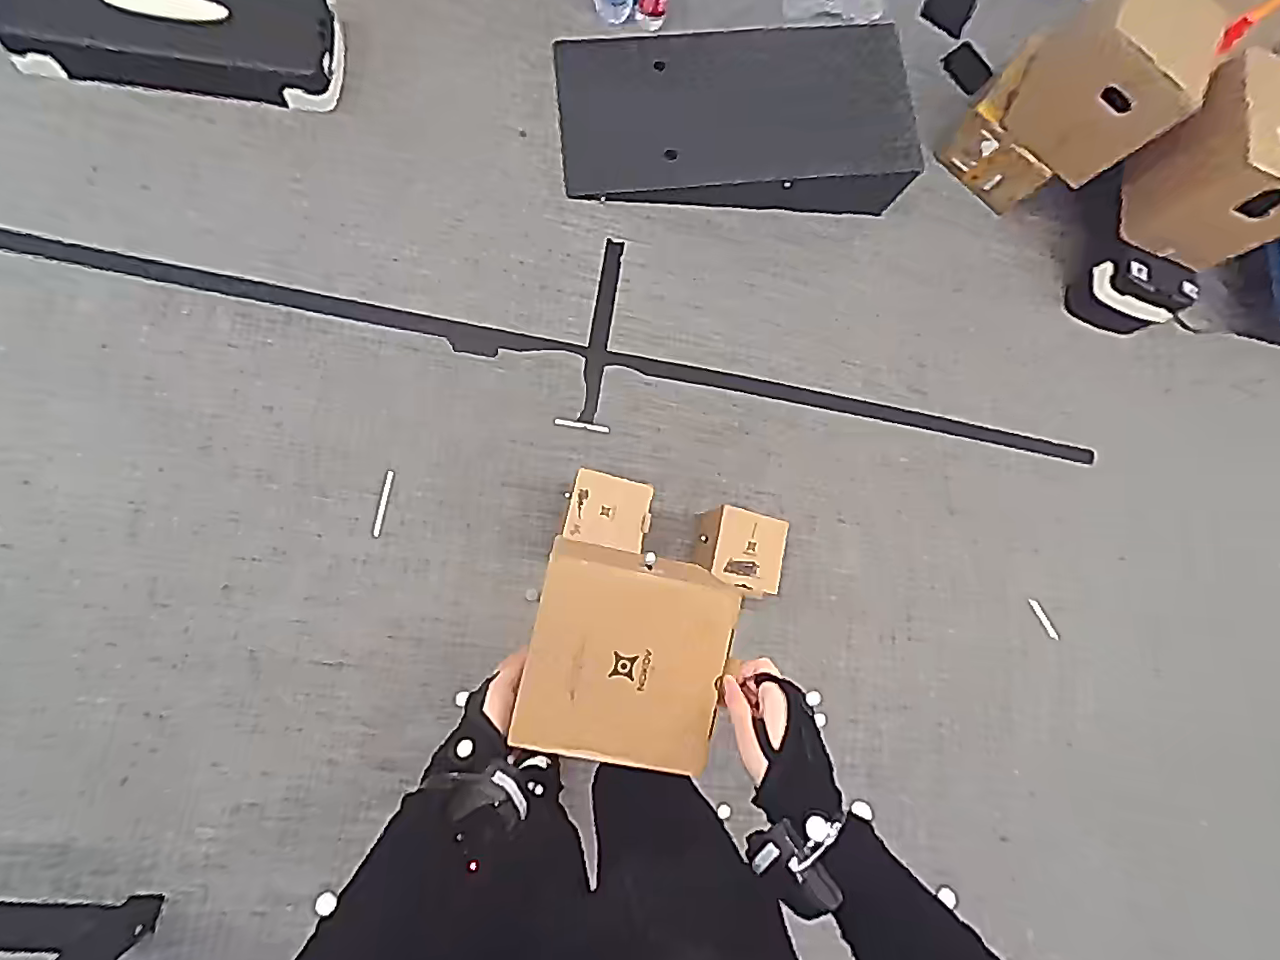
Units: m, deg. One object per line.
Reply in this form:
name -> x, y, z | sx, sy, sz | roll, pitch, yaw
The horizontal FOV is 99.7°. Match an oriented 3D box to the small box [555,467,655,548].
small box -> -0.086, 0.084, 1.237 | 0.179, 0.176, 0.168 | 16, 76, -11

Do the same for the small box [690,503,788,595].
small box -> 0.229, 0.171, 1.296 | 0.168, 0.176, 0.179 | 16, 76, -10

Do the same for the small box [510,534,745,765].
small box -> -0.017, 0.154, 0.547 | 0.179, 0.176, 0.168 | 13, 87, -6
